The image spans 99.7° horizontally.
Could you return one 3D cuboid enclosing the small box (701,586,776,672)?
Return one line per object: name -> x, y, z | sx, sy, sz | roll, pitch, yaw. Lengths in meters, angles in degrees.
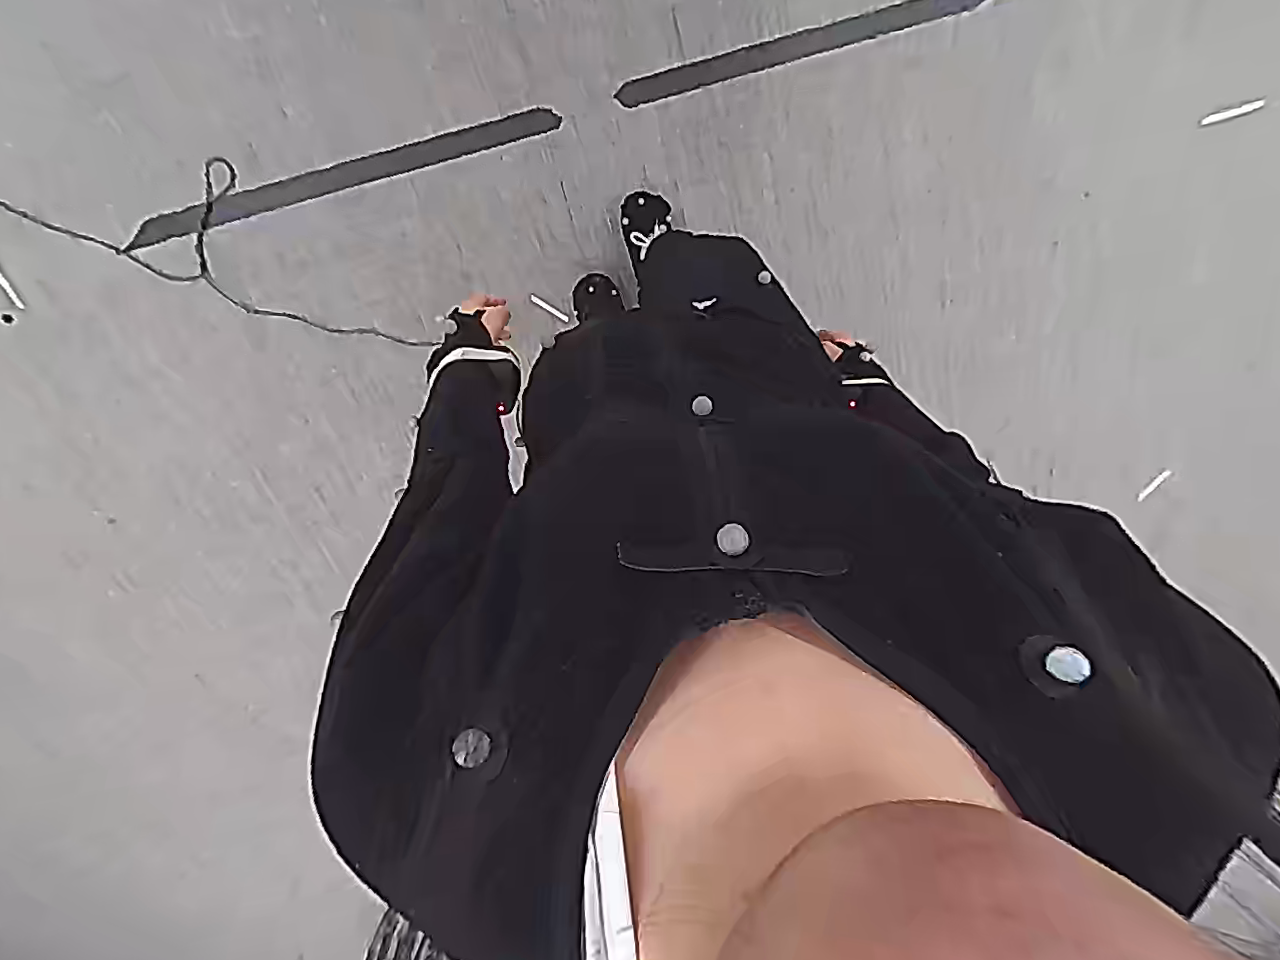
small box -> 0.297, 0.447, 1.660 | 0.168, 0.176, 0.179 | -20, 112, 3
